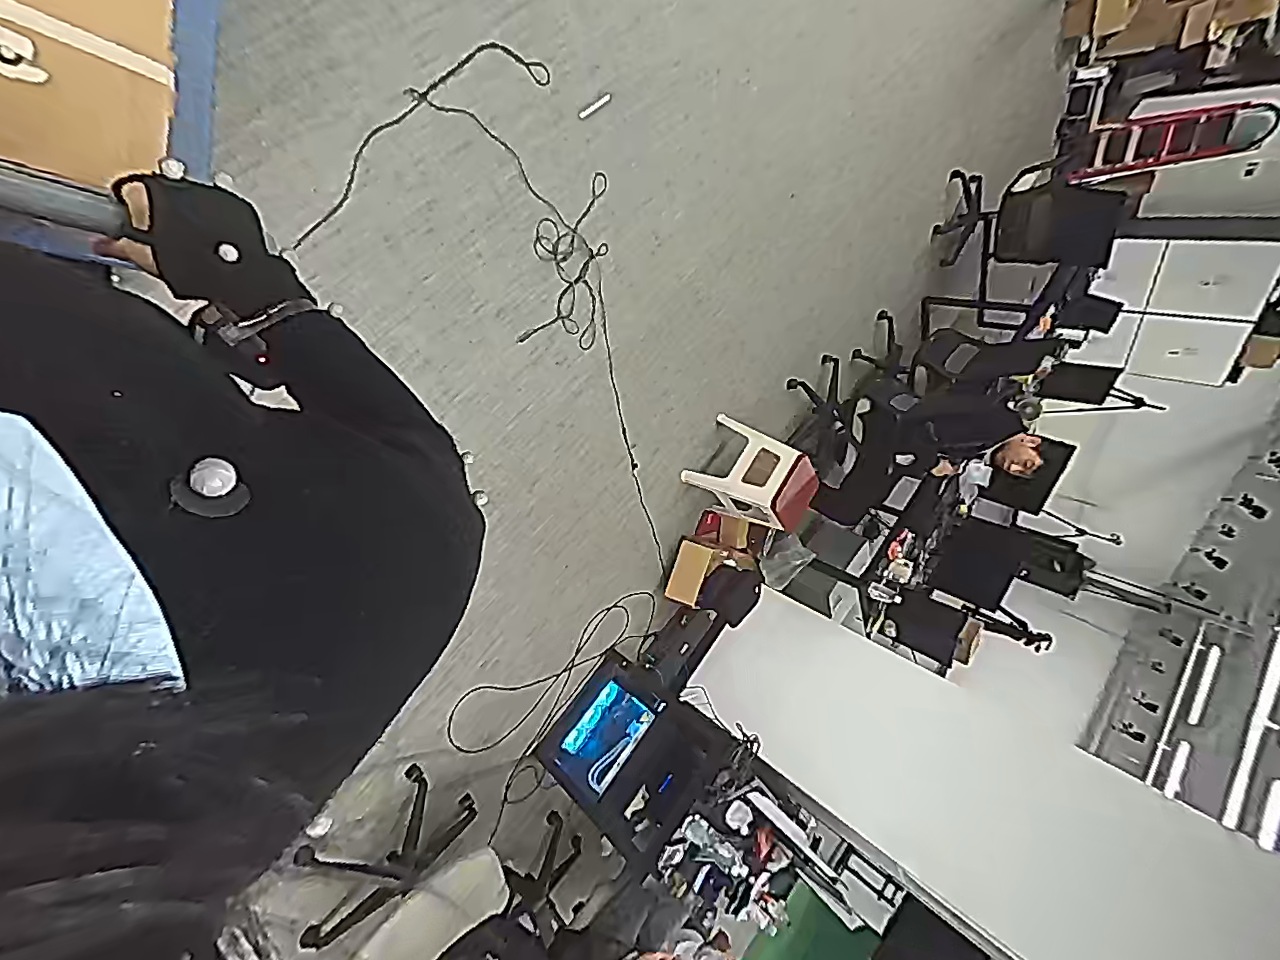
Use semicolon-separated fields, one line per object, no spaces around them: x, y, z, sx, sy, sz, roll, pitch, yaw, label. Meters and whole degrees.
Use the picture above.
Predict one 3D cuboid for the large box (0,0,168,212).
-0.852;-0.550;0.638;0.408;0.320;0.320;1;107;-50;large box
